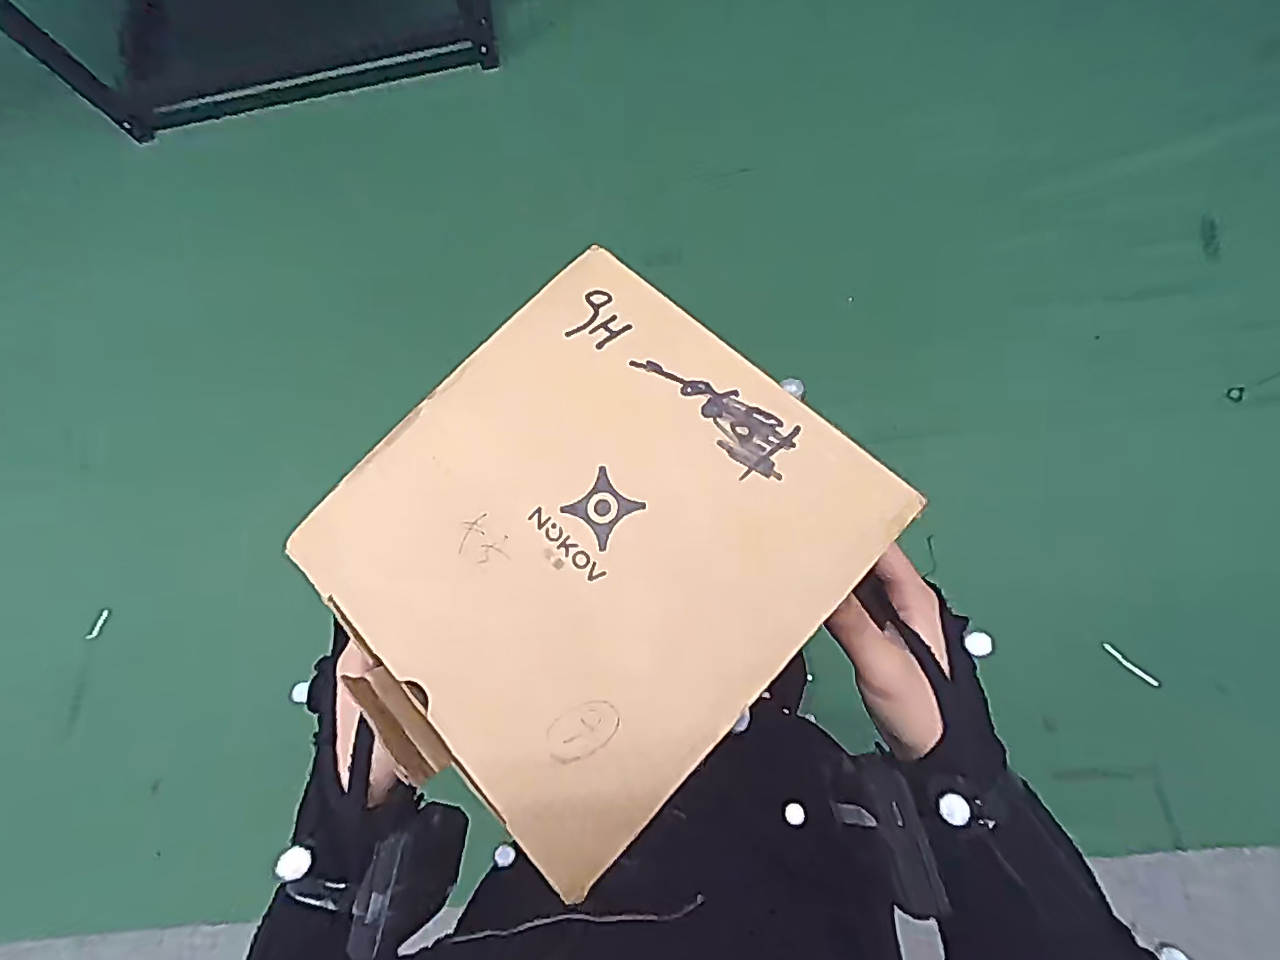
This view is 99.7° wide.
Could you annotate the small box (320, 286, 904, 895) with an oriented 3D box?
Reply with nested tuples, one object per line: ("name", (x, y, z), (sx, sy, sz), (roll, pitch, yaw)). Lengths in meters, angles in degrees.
("small box", (-0.007, 0.047, 0.285), (0.168, 0.176, 0.179), (42, 84, 16))
